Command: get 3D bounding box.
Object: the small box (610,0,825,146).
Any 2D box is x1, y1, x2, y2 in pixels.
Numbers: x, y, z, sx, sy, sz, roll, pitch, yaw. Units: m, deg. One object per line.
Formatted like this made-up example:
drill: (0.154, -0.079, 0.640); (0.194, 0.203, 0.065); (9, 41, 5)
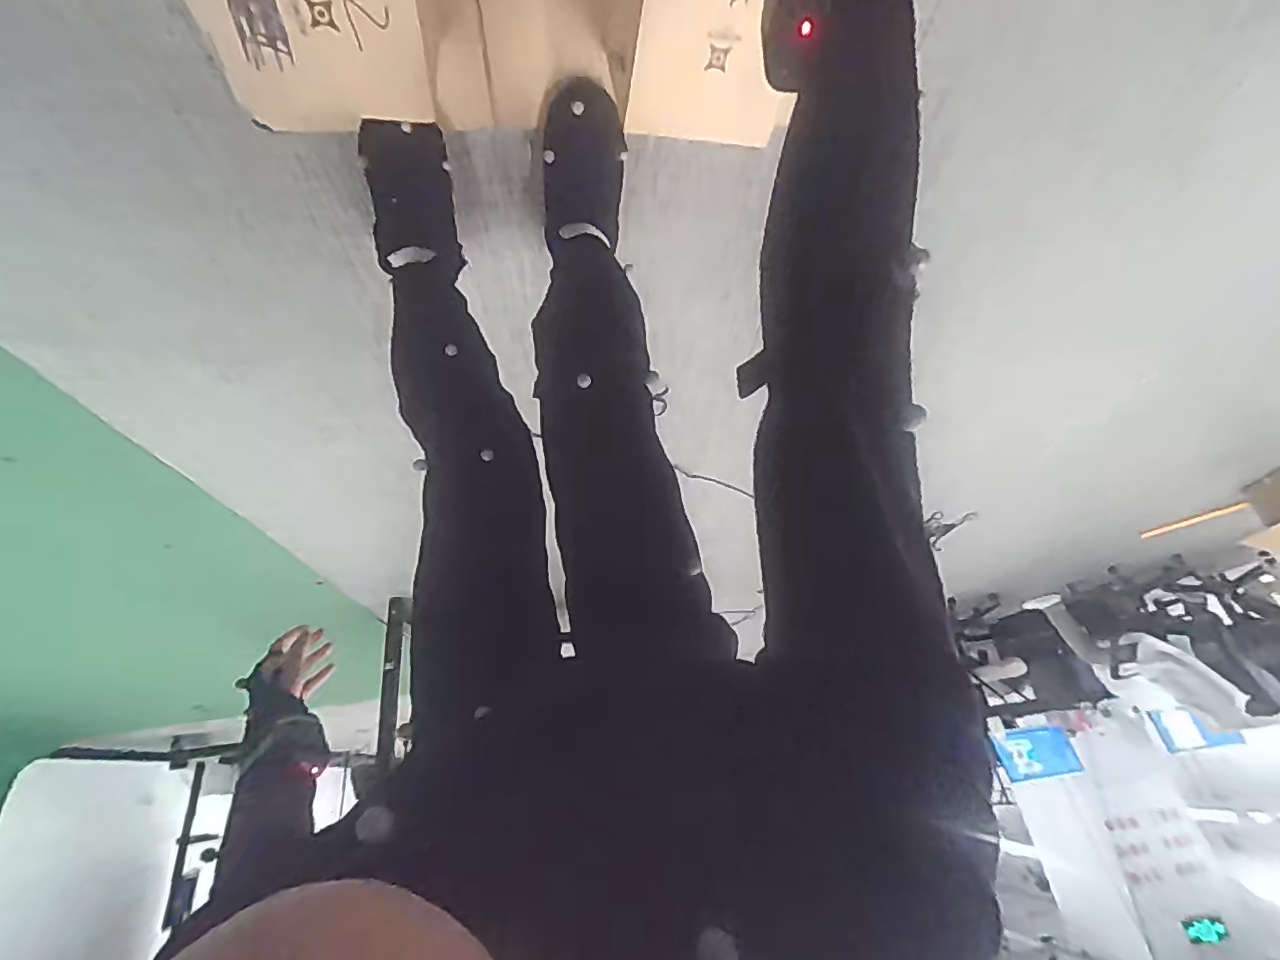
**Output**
small box: (0.067, -0.480, 0.543); (0.168, 0.176, 0.179); (-2, 151, -14)
